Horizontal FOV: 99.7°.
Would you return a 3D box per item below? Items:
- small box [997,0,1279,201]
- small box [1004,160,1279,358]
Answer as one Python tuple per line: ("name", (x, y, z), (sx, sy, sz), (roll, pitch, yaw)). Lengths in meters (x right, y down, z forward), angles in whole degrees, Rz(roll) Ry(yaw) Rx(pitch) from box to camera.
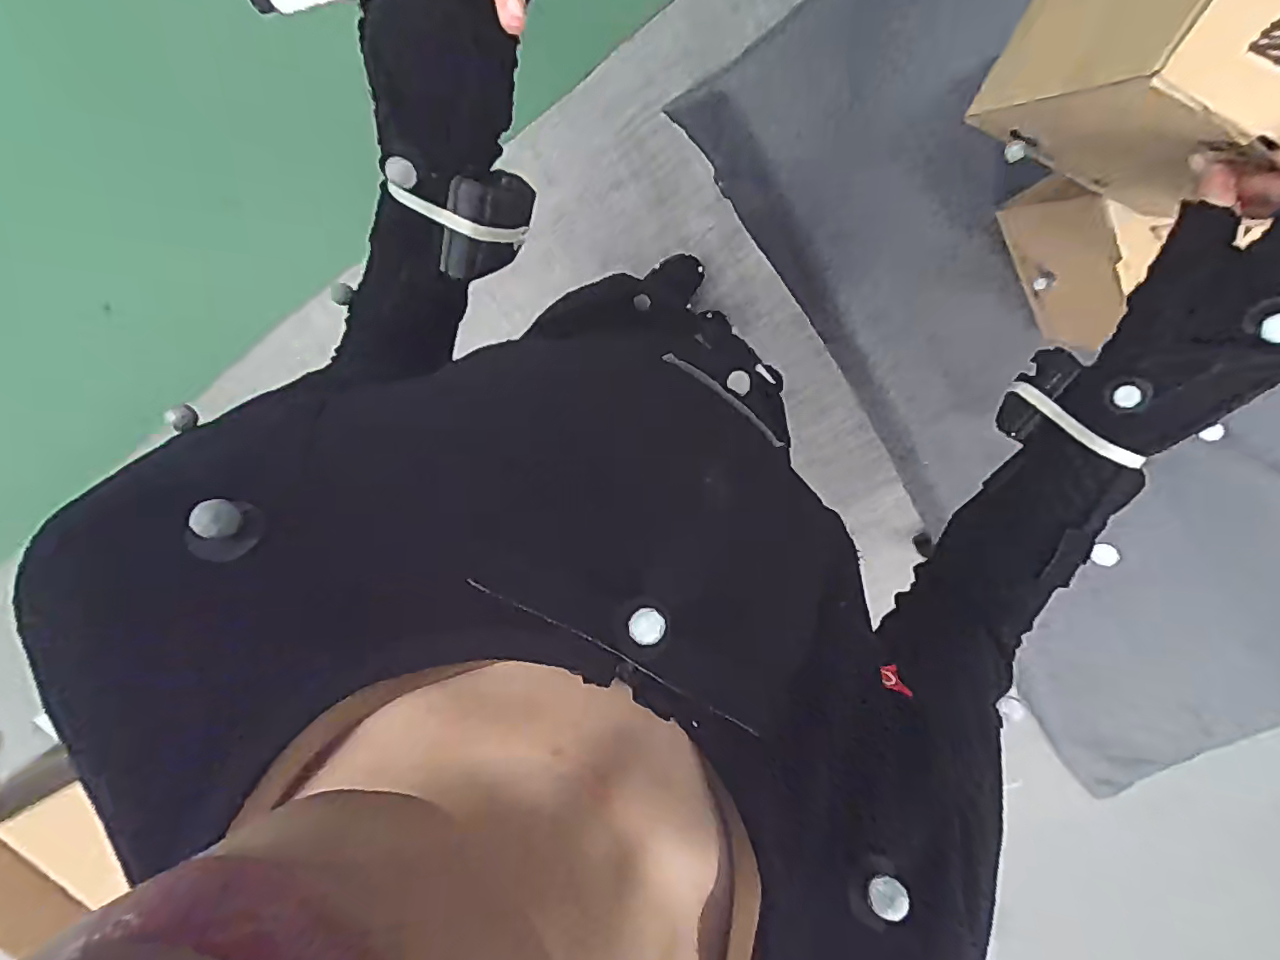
("small box", (0.330, -0.260, 0.277), (0.168, 0.176, 0.179), (19, 116, -9))
("small box", (0.505, -0.245, 0.521), (0.179, 0.176, 0.168), (-30, 107, 15))
